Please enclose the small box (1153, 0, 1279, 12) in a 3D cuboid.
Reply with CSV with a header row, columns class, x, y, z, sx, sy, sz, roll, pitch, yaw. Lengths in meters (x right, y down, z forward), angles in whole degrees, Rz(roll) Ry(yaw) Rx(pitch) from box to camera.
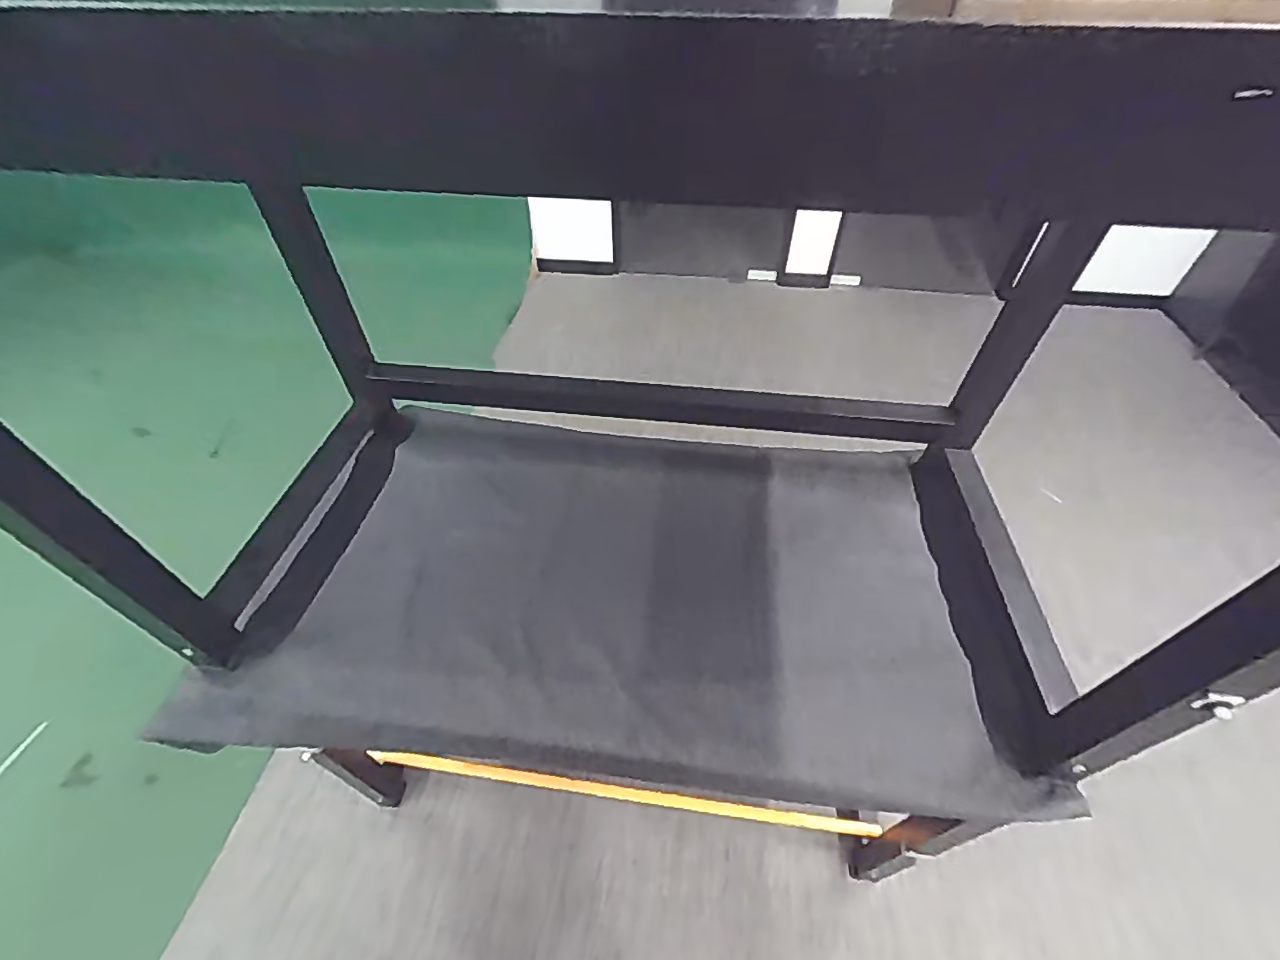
class,x,y,z,sx,sy,sz,roll,pitch,yaw
small box,0.228,-0.314,0.217,0.168,0.176,0.179,9,48,8
